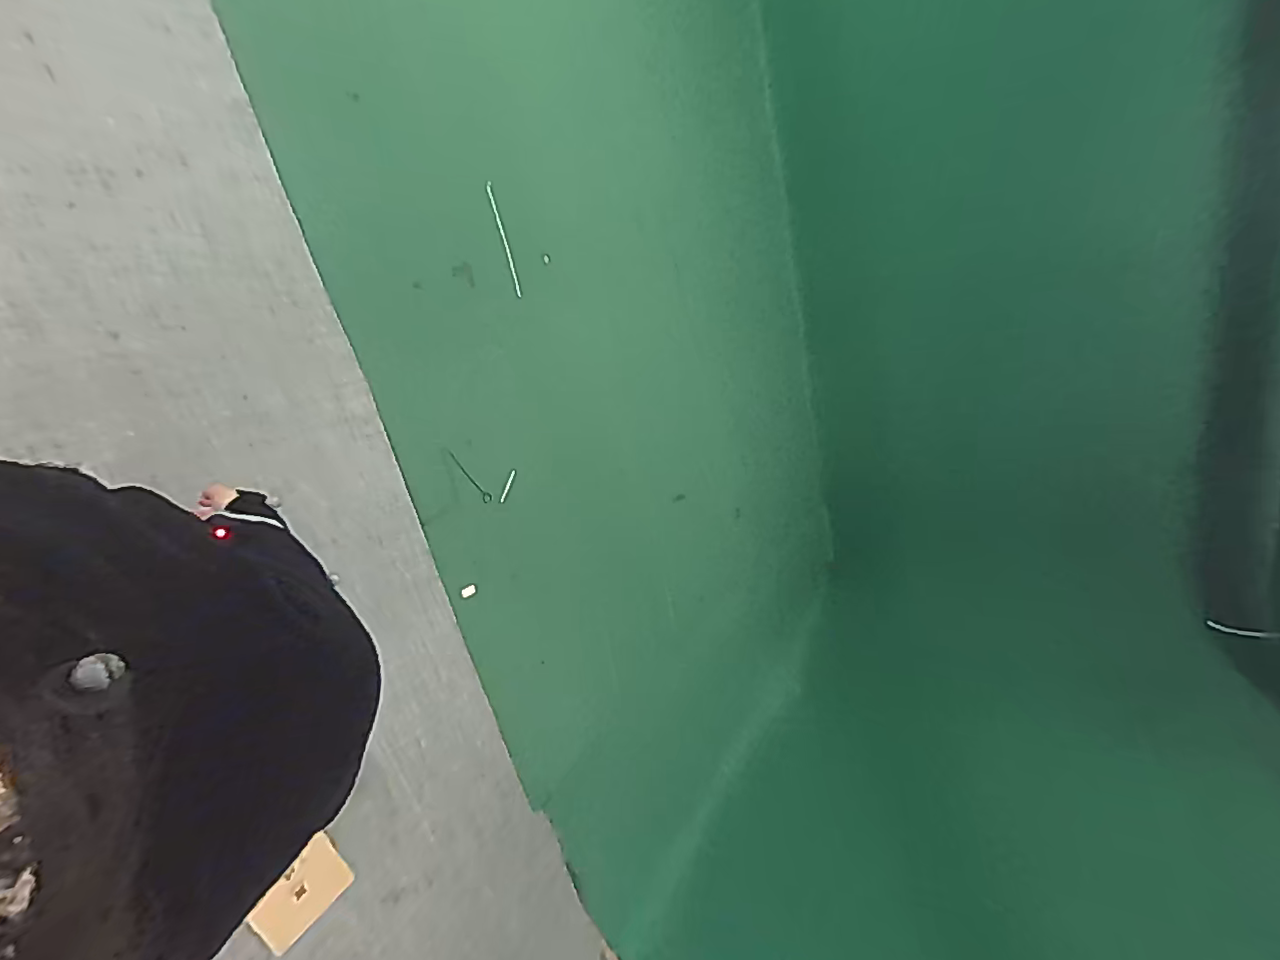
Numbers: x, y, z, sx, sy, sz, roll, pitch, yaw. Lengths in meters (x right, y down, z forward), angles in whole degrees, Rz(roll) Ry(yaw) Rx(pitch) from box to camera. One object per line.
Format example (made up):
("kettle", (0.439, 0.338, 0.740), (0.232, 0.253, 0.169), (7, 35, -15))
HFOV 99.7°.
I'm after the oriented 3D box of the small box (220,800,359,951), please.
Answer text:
("small box", (-0.744, 0.827, 1.150), (0.168, 0.176, 0.179), (-38, 118, -44))
